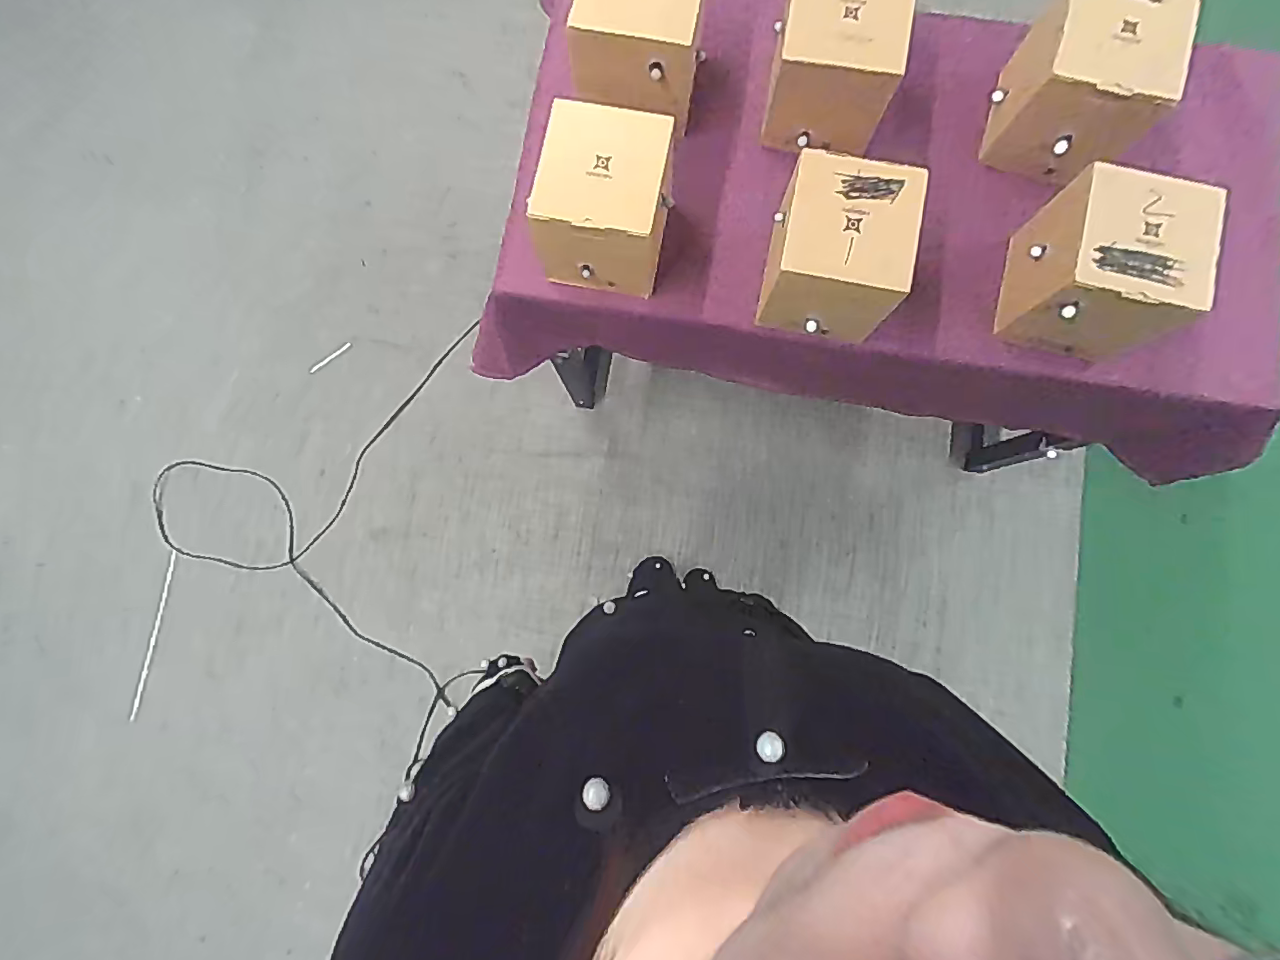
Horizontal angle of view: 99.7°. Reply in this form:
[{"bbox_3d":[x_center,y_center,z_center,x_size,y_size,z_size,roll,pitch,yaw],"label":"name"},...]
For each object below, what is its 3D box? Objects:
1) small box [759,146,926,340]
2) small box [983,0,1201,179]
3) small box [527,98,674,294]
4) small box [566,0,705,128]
[{"bbox_3d":[0.273,-0.322,0.763,0.168,0.176,0.179,11,83,4],"label":"small box"},{"bbox_3d":[0.638,-0.580,0.785,0.168,0.176,0.179,17,84,4],"label":"small box"},{"bbox_3d":[-0.050,-0.401,0.787,0.168,0.176,0.179,11,83,3],"label":"small box"},{"bbox_3d":[0.001,-0.667,0.821,0.179,0.176,0.168,11,82,3],"label":"small box"}]
